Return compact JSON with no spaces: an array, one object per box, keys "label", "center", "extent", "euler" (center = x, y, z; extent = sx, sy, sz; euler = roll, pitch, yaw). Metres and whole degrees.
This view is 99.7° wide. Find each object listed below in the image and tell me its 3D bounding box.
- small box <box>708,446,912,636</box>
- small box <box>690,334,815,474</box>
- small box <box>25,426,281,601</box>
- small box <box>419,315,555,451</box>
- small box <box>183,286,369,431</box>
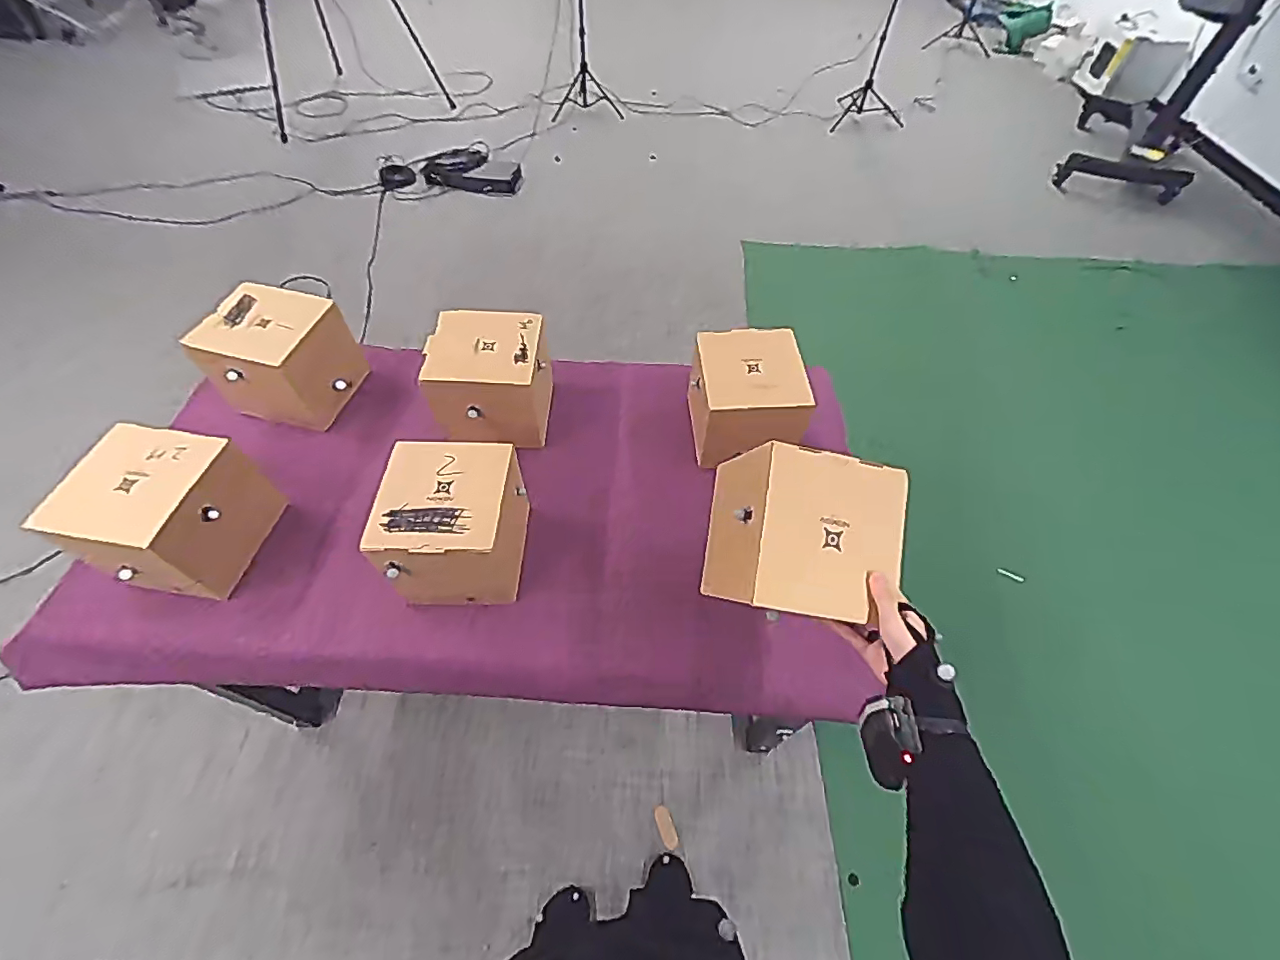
[{"label":"small box","center":[0.190,0.076,0.642],"extent":[0.168,0.176,0.179],"euler":[12,78,-10]},{"label":"small box","center":[0.180,-0.129,0.931],"extent":[0.168,0.176,0.179],"euler":[-2,57,-2]},{"label":"small box","center":[-0.658,0.053,0.764],"extent":[0.168,0.176,0.179],"euler":[9,55,3]},{"label":"small box","center":[-0.252,-0.163,0.936],"extent":[0.179,0.176,0.168],"euler":[2,56,0]},{"label":"small box","center":[-0.619,-0.207,0.947],"extent":[0.179,0.176,0.168],"euler":[13,57,5]}]
